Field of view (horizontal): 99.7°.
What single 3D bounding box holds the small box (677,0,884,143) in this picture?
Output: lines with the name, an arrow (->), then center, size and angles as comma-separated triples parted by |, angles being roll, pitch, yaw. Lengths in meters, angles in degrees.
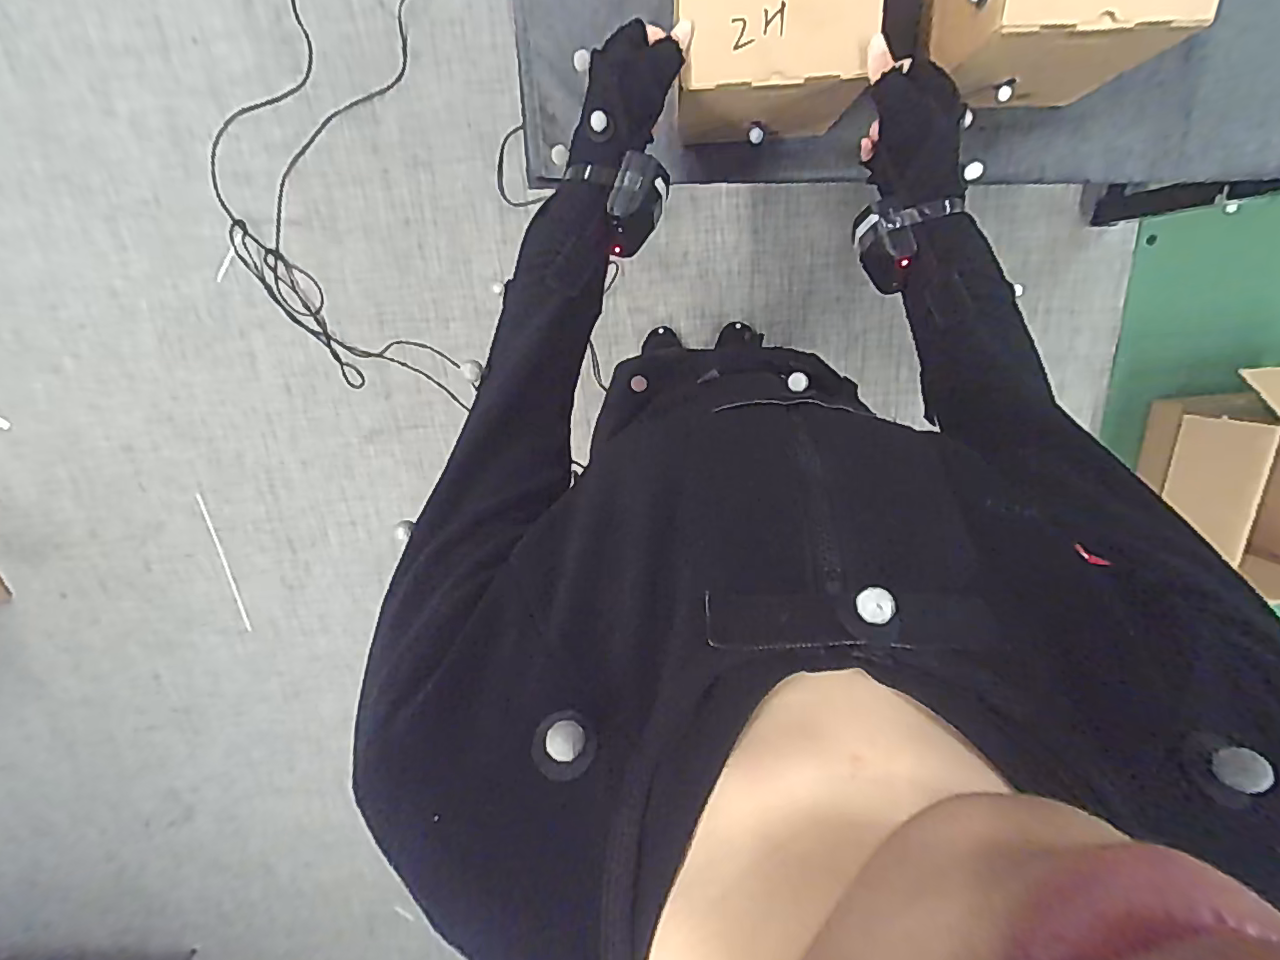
small box -> 0.119, -0.444, 0.509 | 0.168, 0.176, 0.179 | -1, 108, 4
